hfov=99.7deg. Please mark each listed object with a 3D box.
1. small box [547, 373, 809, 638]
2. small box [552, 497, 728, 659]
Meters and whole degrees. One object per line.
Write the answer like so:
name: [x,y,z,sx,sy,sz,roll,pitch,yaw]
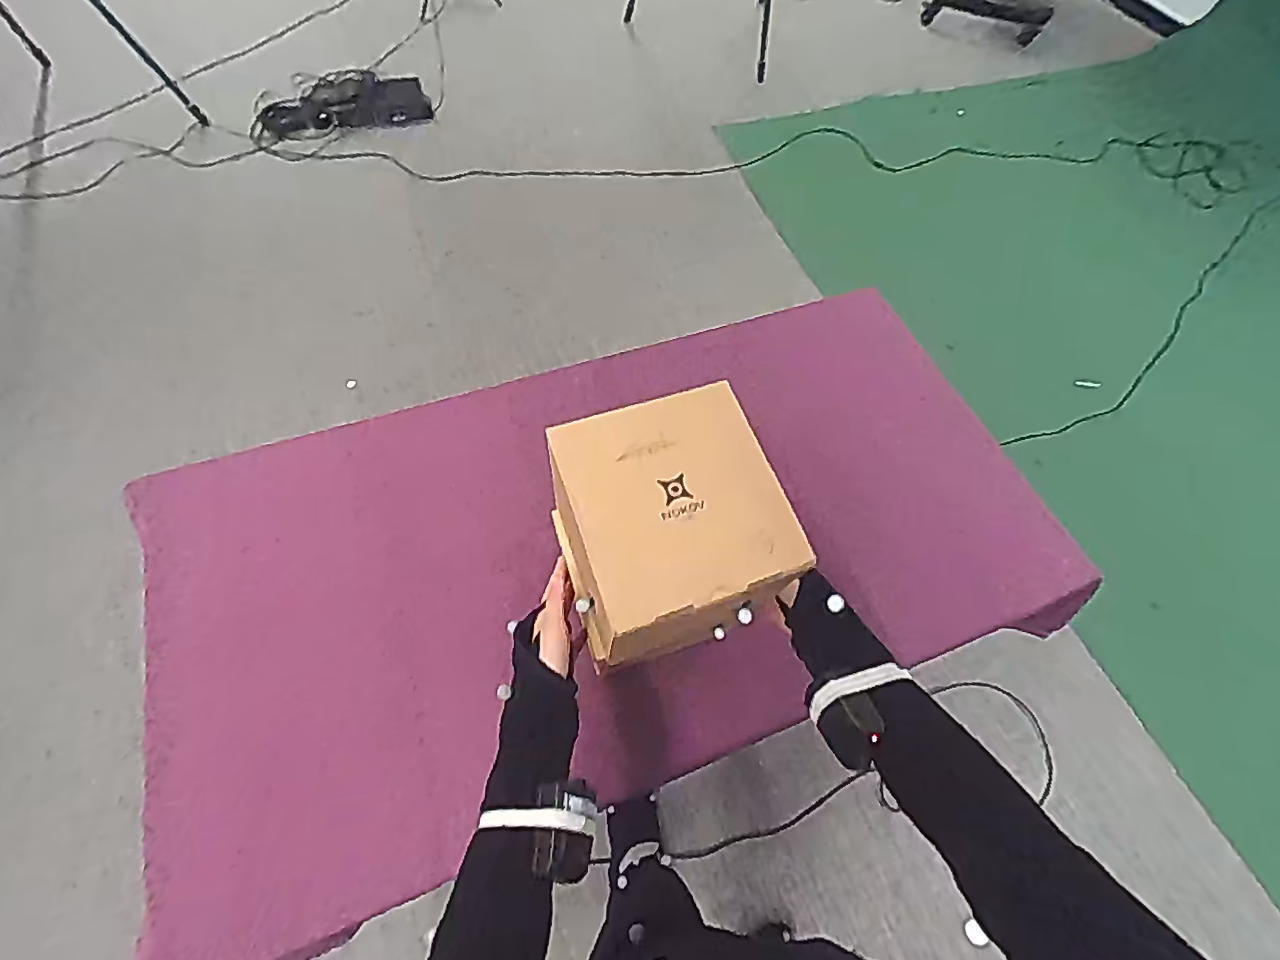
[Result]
small box: [0.022,0.035,0.499,0.168,0.176,0.179,-17,68,-12]
small box: [0.005,0.102,0.646,0.179,0.176,0.168,-16,68,-12]
